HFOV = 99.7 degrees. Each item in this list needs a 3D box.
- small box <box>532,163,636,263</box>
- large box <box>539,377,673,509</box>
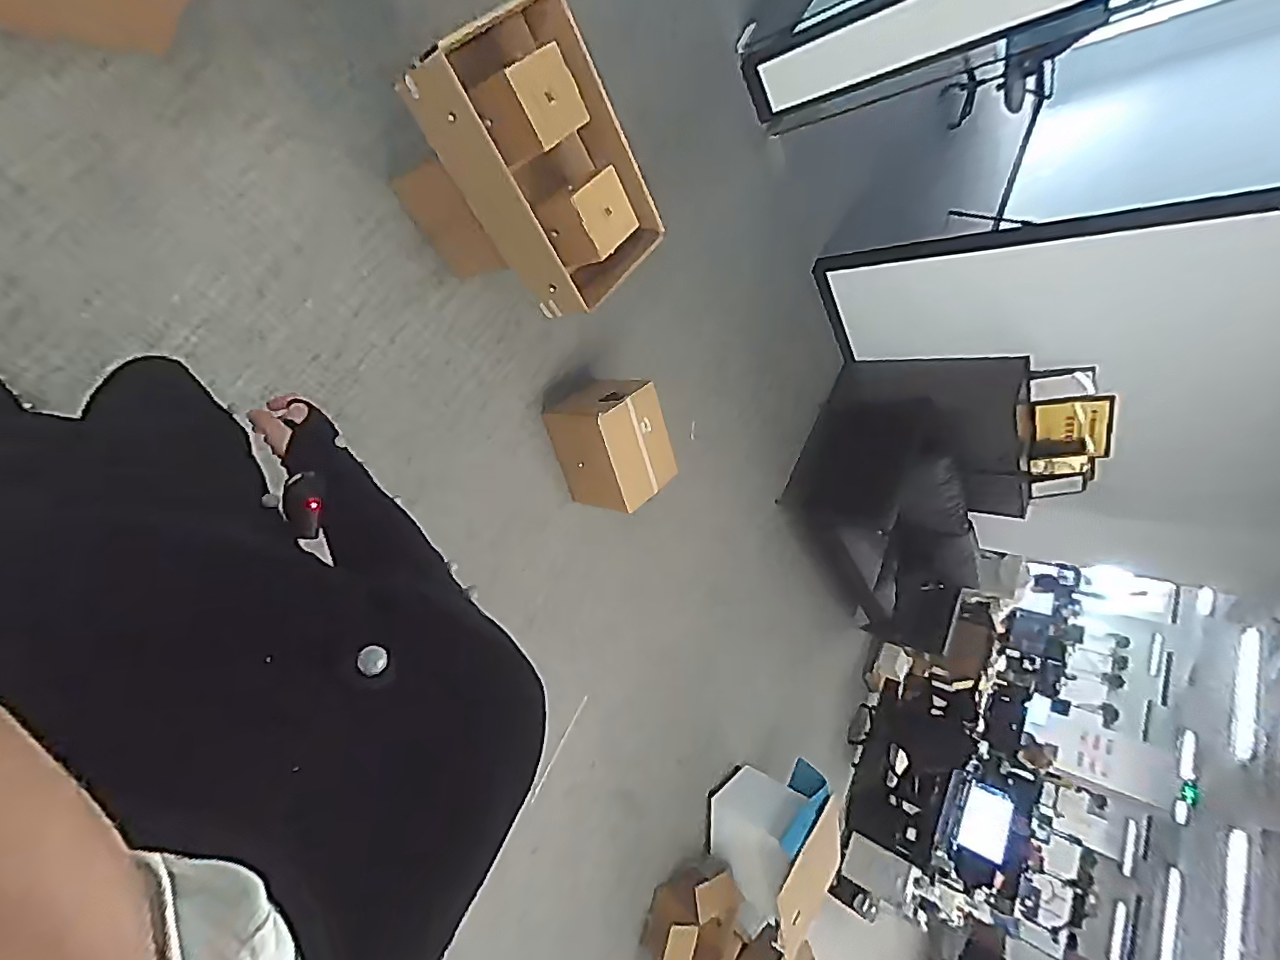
[{"bbox_3d":[-0.147,-0.694,1.418,0.179,0.176,0.168,-53,132,-25],"label":"small box"},{"bbox_3d":[-0.126,-0.151,2.085,0.320,0.320,0.408,-40,125,-37],"label":"large box"}]
